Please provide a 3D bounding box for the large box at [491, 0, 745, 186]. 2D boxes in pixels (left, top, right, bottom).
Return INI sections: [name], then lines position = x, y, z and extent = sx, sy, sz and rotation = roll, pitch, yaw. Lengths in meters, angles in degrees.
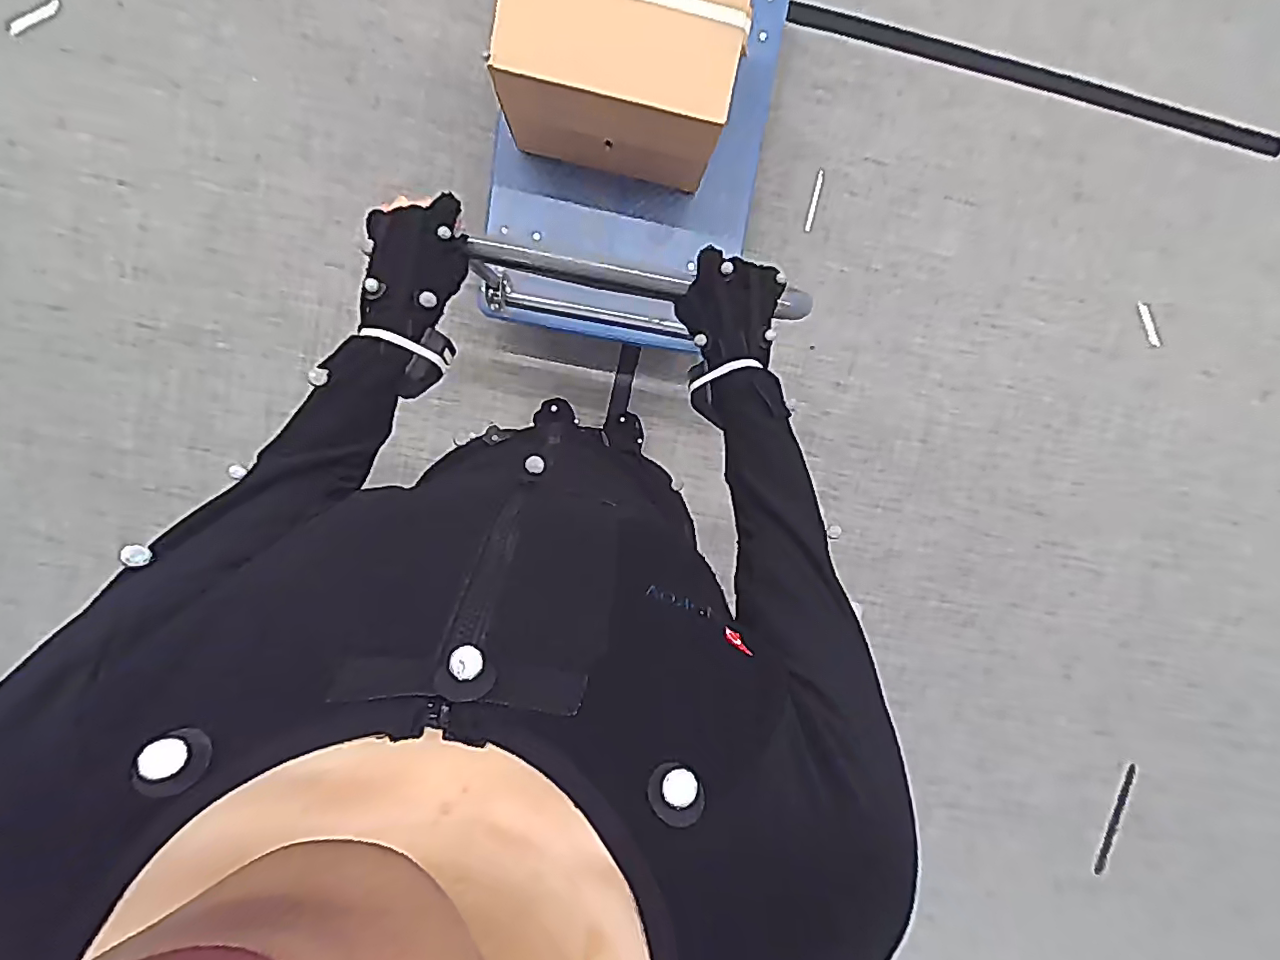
[large box]
position = -0.032, -0.814, 1.037
extent = 0.408, 0.320, 0.320
rotation = 11, 98, -4
